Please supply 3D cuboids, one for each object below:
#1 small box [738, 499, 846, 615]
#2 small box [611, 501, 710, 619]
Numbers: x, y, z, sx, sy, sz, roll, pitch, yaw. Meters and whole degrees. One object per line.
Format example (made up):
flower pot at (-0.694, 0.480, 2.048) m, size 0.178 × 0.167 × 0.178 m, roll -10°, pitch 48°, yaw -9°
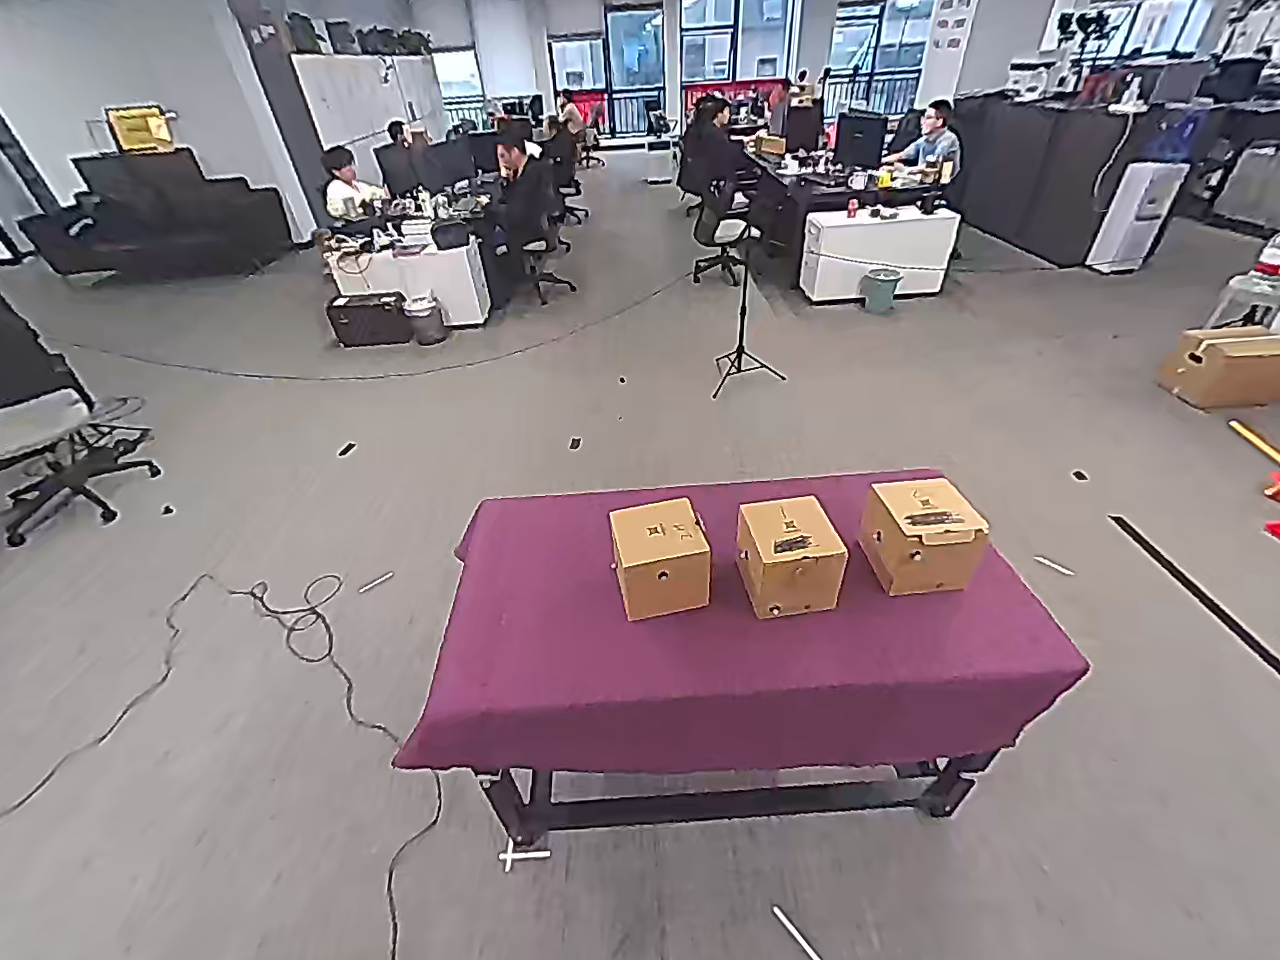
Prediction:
small box at (0.307, 0.166, 1.127) m, size 0.168 × 0.176 × 0.179 m, roll -6°, pitch 37°, yaw -4°
small box at (0.041, 0.171, 1.141) m, size 0.179 × 0.176 × 0.168 m, roll -9°, pitch 39°, yaw -7°
